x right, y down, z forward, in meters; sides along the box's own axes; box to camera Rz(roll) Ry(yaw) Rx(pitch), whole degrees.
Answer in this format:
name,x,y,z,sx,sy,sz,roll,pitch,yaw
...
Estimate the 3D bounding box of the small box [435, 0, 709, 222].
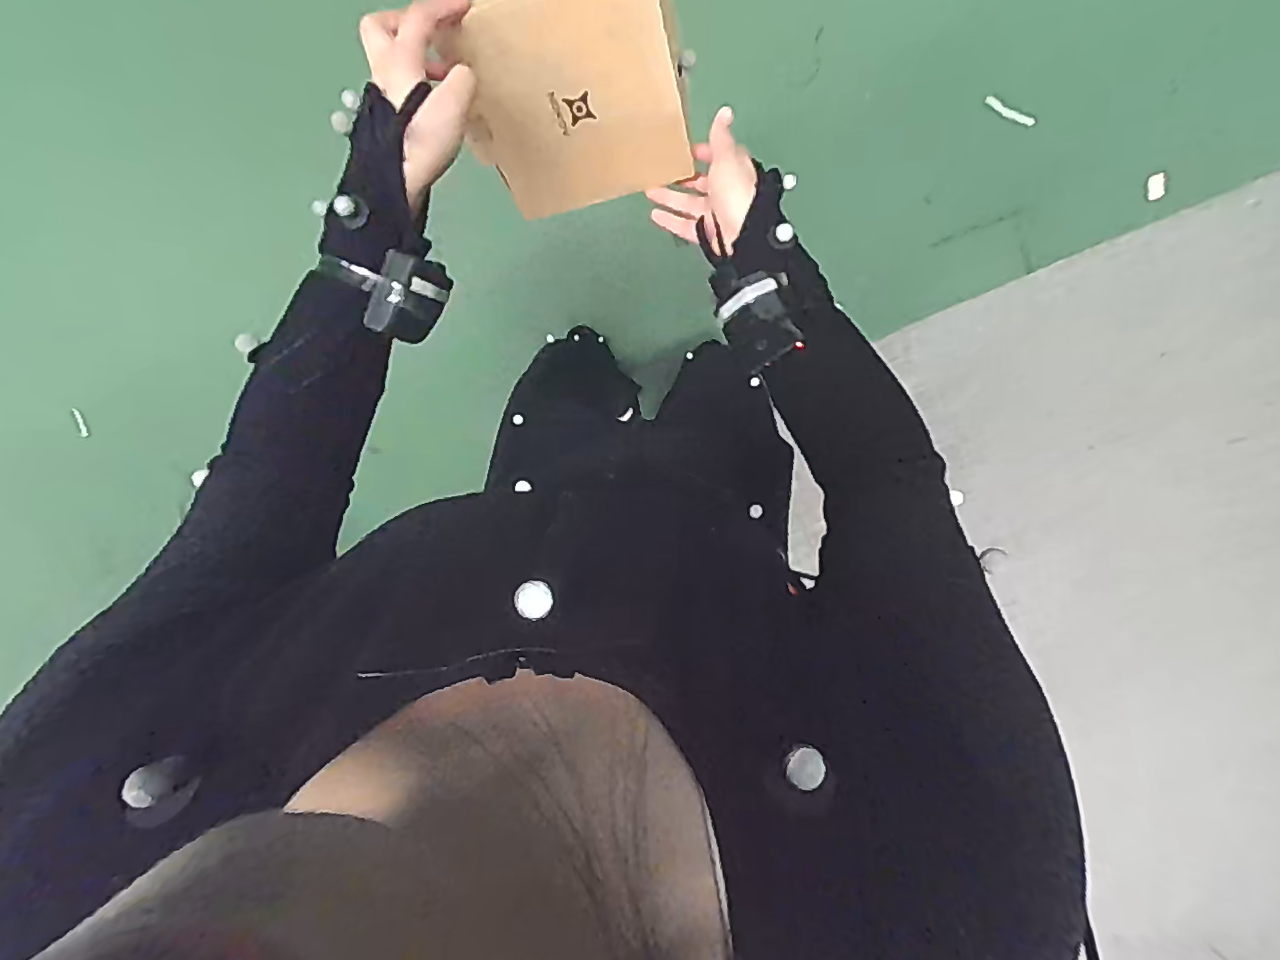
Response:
name,x,y,z,sx,sy,sz,roll,pitch,yaw
small box,-0.044,-0.368,0.471,0.179,0.176,0.168,-8,149,16
